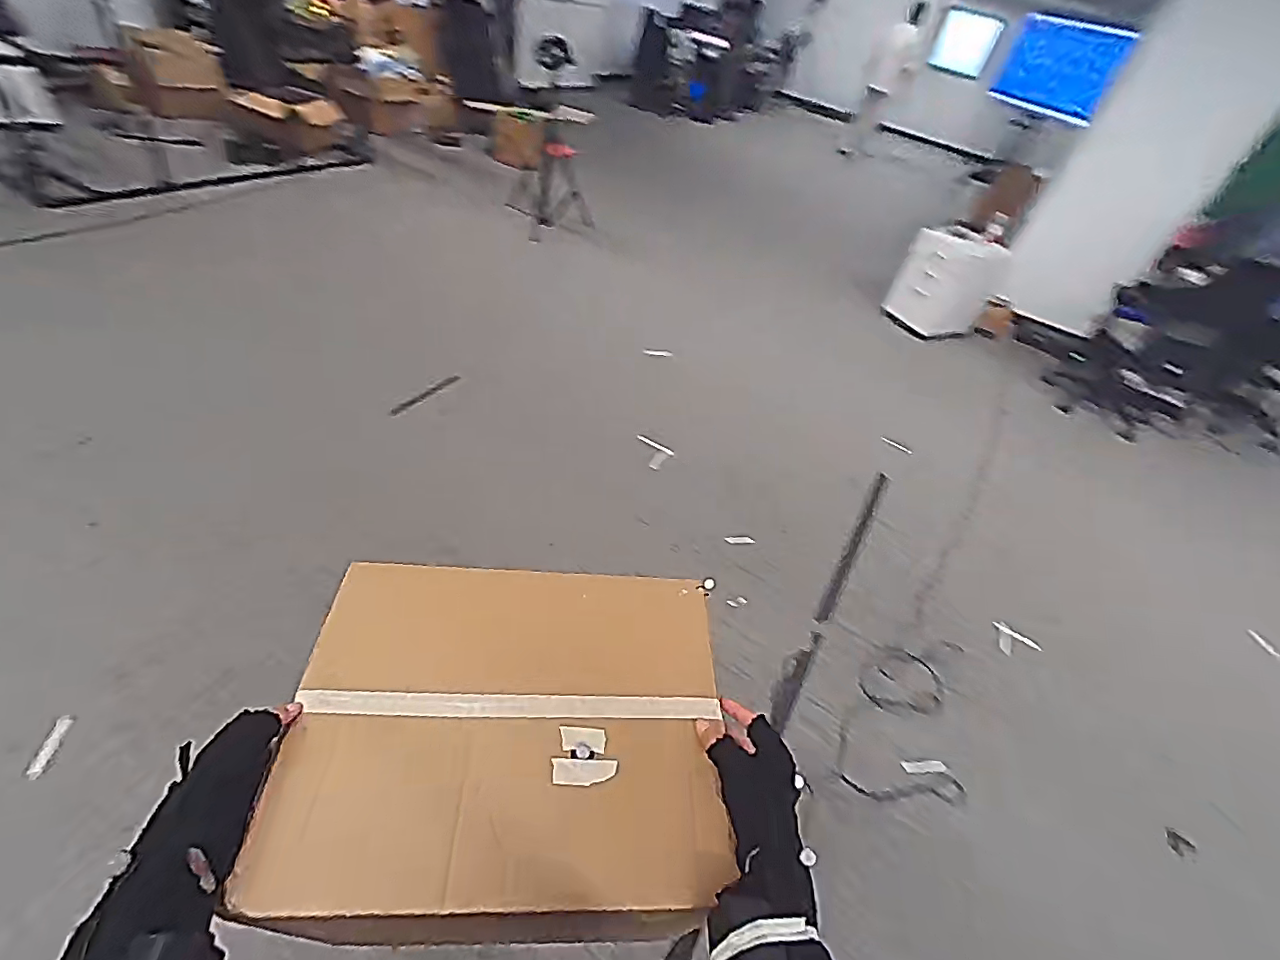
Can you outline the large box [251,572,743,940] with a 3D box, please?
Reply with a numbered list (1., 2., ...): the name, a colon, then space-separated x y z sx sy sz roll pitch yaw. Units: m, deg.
1. large box: -0.131 0.333 0.646 0.408 0.320 0.320 5 47 -6
